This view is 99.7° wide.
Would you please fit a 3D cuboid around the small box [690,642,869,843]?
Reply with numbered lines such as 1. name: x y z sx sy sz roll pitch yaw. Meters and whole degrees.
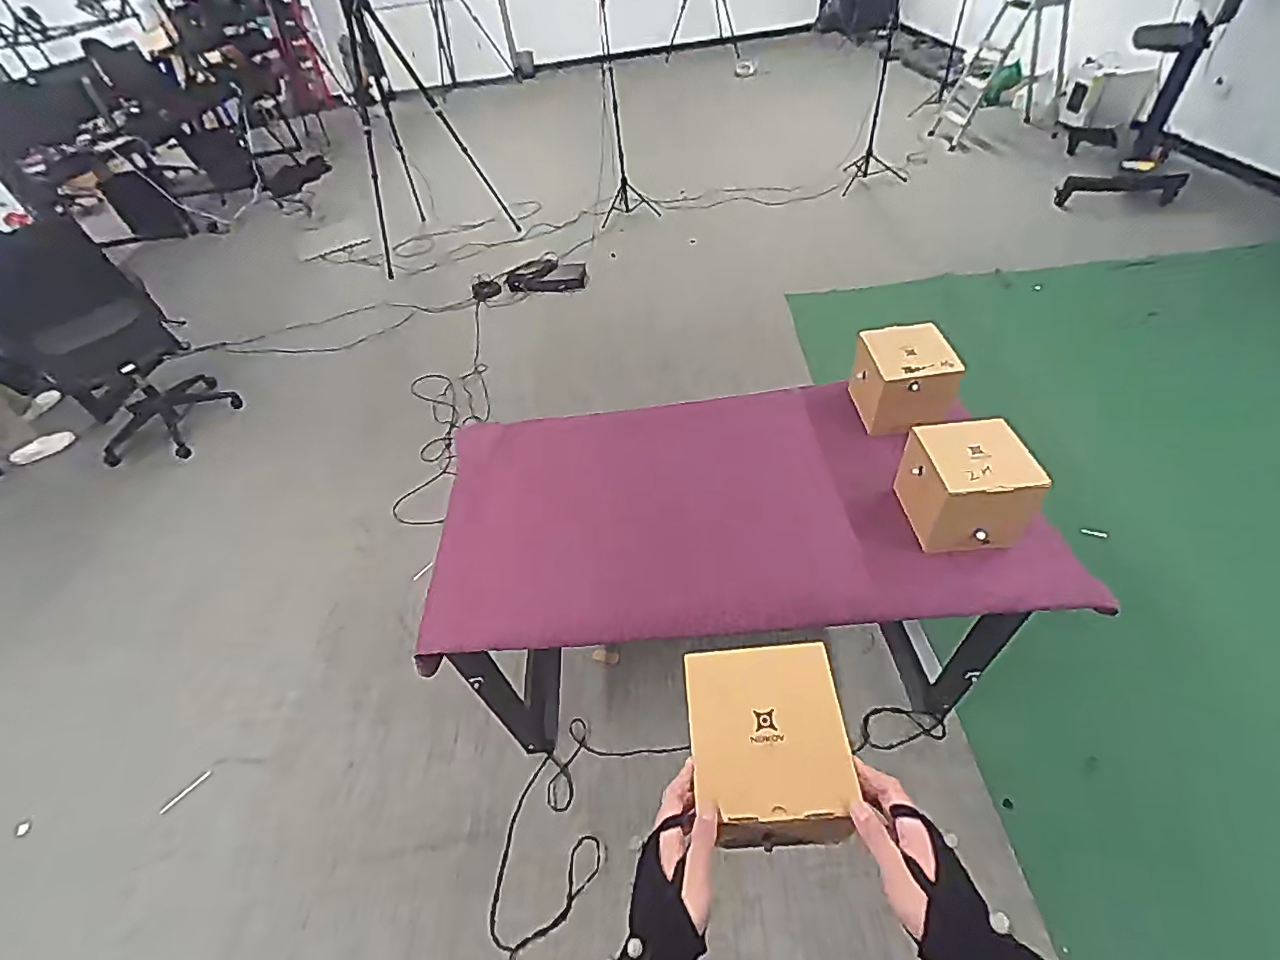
1. small box: 0.151 0.314 0.642 0.168 0.176 0.179 -7 49 6

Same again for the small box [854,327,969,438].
1. small box: 0.600 -0.219 1.224 0.168 0.176 0.179 -7 48 5

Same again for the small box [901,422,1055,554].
1. small box: 0.608 0.016 1.005 0.168 0.176 0.179 -5 46 5
